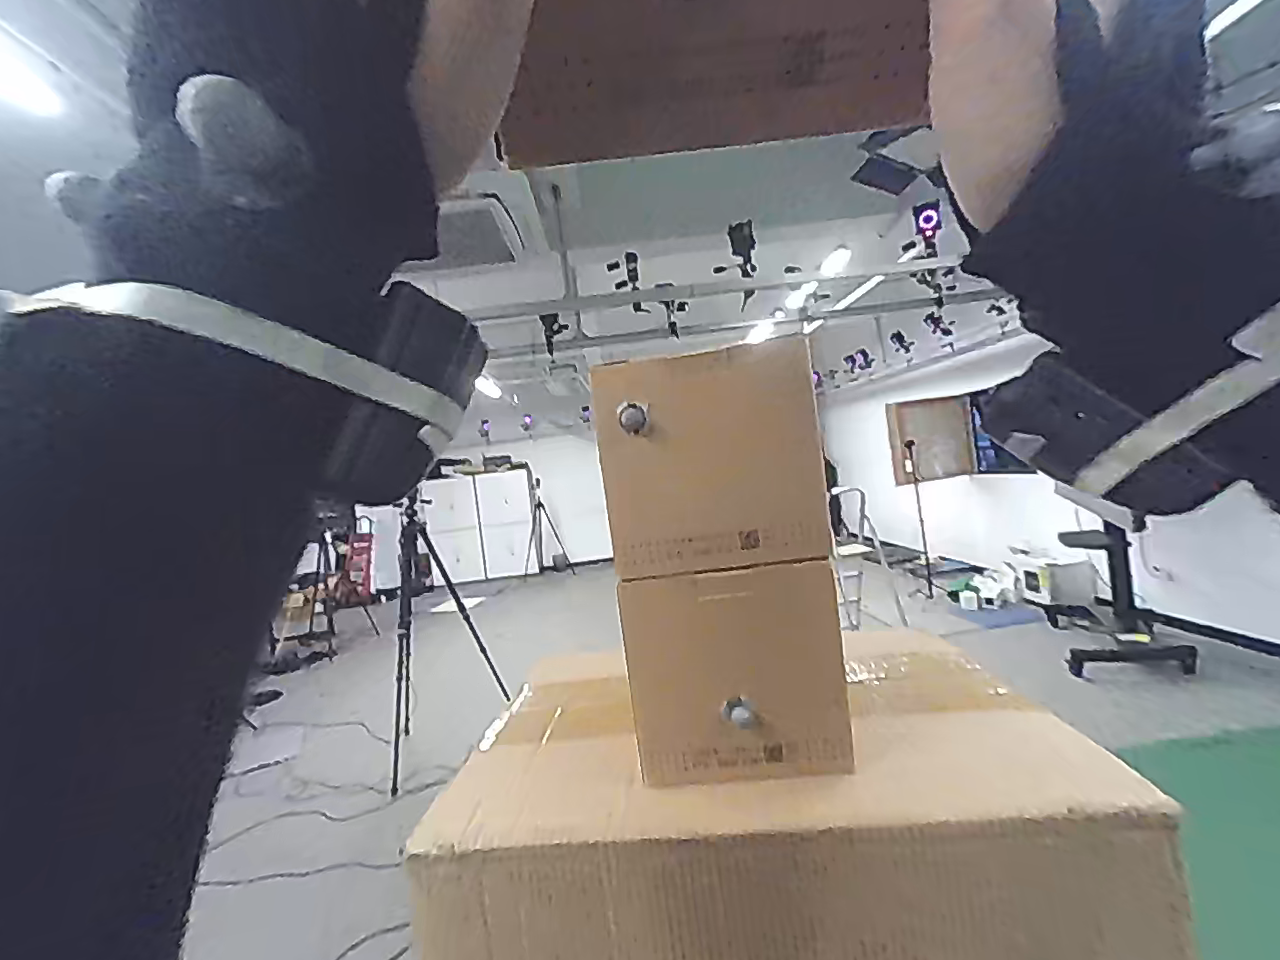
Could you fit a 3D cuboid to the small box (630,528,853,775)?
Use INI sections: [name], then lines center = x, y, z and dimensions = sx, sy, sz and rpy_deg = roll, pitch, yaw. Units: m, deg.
[small box]
center = 0.088, 0.146, 0.508
dimensions = 0.168, 0.176, 0.179
rpy_deg = -7, 3, 5
